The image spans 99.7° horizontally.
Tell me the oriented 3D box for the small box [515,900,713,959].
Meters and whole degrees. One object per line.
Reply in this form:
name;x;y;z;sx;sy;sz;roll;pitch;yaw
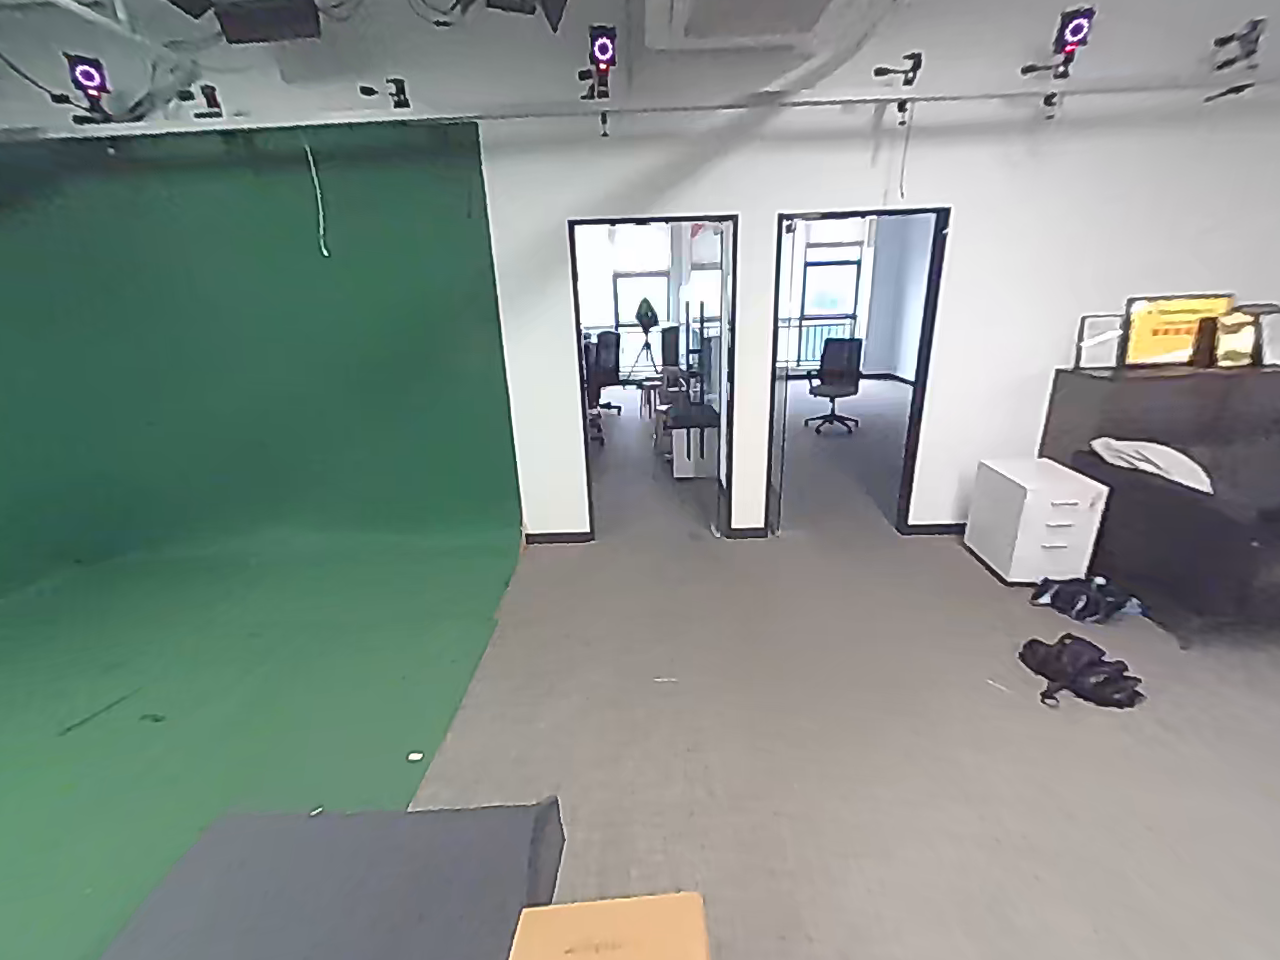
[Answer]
small box;-0.014;0.474;0.409;0.168;0.176;0.179;-7;7;3
